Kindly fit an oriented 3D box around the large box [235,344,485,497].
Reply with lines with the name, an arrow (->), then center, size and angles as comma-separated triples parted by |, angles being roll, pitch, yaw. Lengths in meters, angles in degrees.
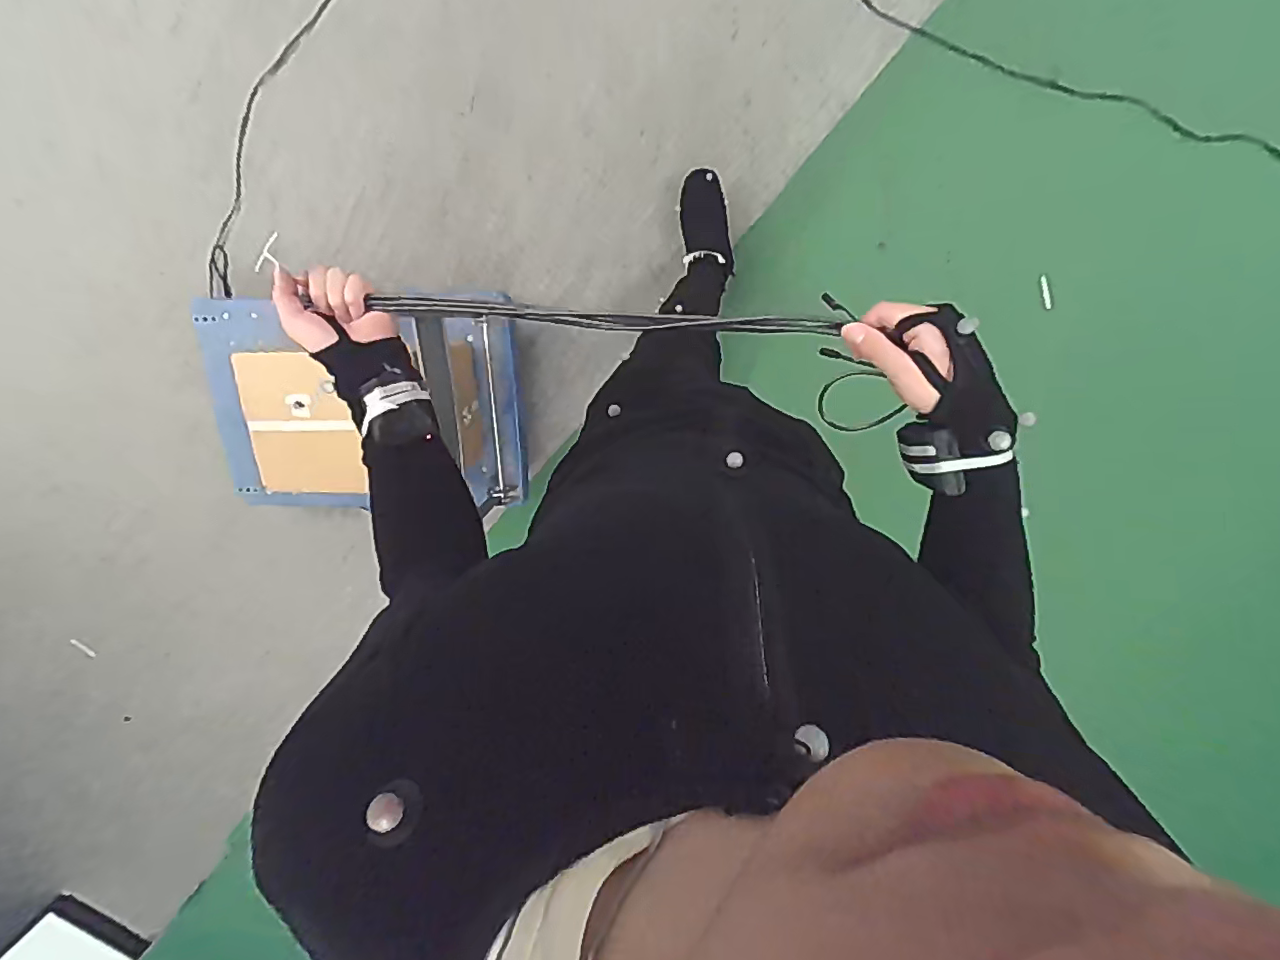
large box -> -0.635, -0.154, 1.299 | 0.408, 0.320, 0.320 | 1, 107, 6
